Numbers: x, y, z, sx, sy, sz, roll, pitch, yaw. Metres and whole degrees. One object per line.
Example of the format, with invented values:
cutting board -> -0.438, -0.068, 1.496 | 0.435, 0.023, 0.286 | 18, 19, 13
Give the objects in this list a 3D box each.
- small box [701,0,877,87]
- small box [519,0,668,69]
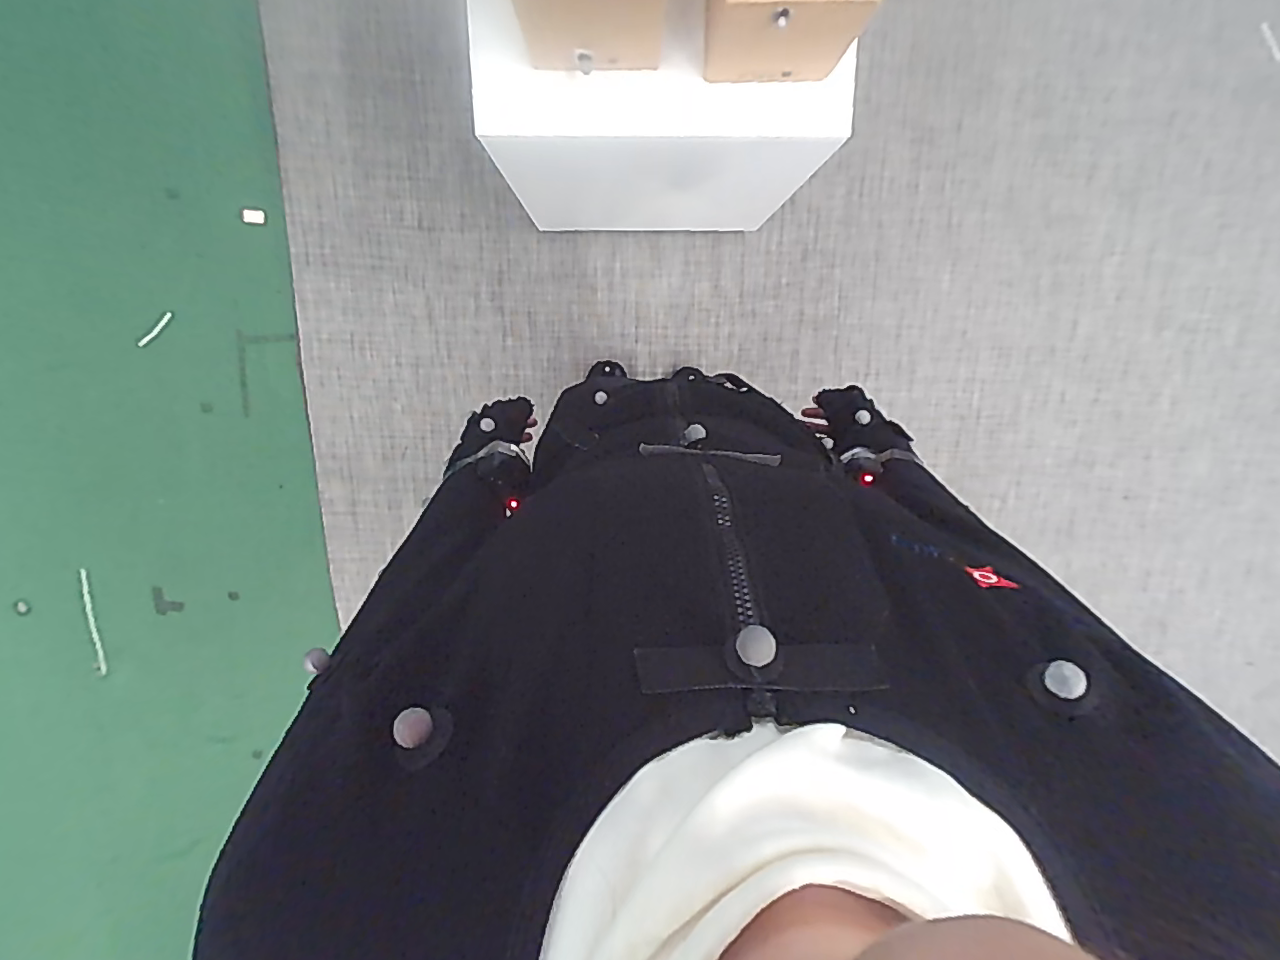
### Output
small box -> 0.163, -0.595, 0.623 | 0.168, 0.176, 0.179 | -1, 101, -1
small box -> -0.056, -0.602, 0.603 | 0.168, 0.176, 0.179 | -3, 103, 0
